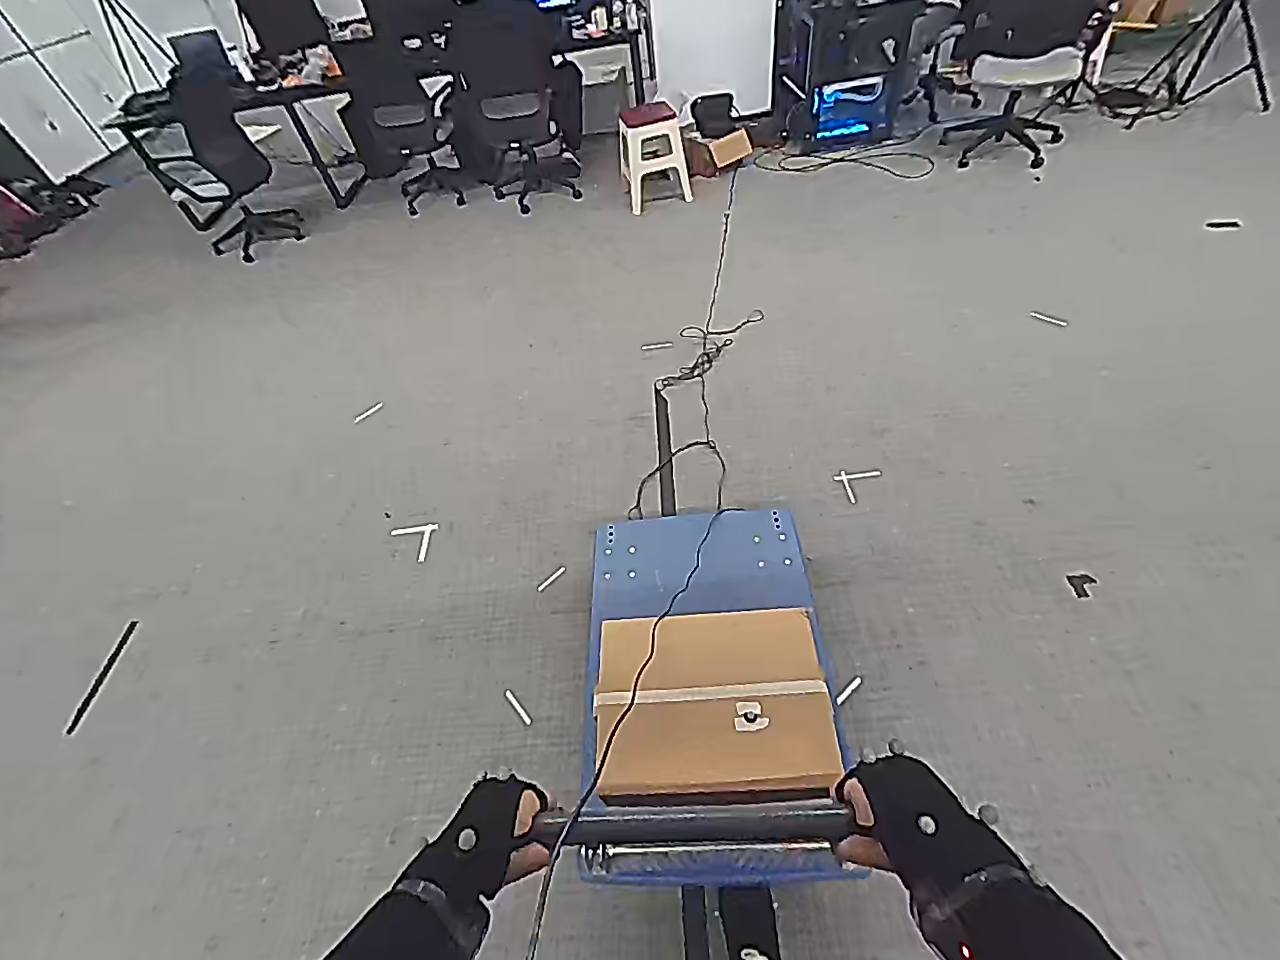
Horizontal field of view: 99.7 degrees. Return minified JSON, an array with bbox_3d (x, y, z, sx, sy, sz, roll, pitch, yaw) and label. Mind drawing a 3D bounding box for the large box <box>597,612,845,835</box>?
[{"bbox_3d":[0.139,0.485,1.065,0.408,0.320,0.320,-5,49,5],"label":"large box"}]
